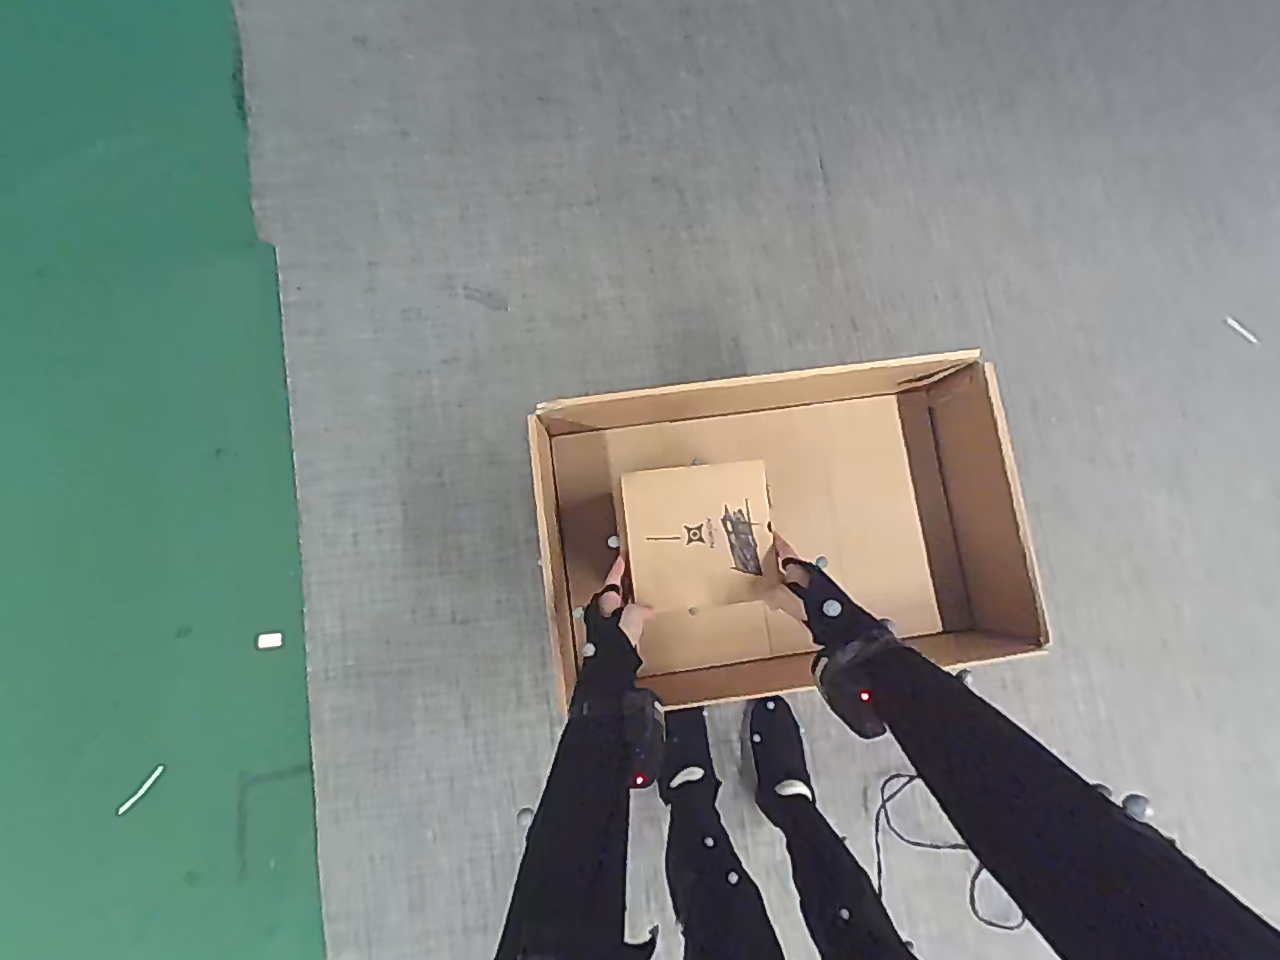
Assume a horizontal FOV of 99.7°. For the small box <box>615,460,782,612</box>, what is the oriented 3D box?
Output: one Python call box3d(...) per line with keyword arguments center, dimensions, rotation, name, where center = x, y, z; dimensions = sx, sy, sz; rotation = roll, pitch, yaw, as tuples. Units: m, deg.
box3d(center=(0.064, 0.074, 0.705), dimensions=(0.179, 0.176, 0.168), rotation=(-6, 81, -6), name="small box")
